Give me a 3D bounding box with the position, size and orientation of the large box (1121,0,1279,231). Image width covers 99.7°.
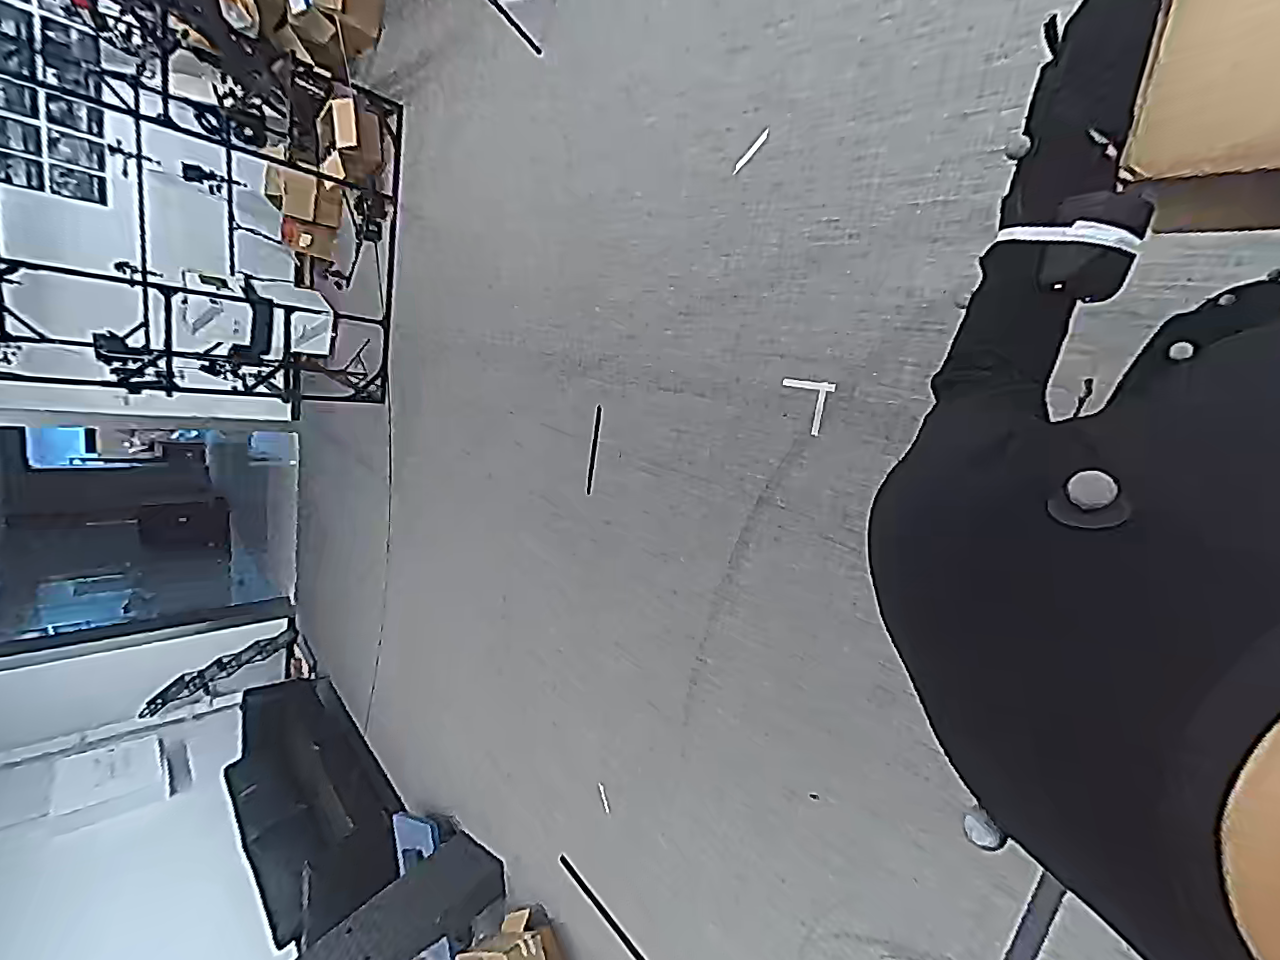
[{"bbox_3d":[0.600,-0.350,0.323,0.408,0.320,0.320,19,115,42],"label":"large box"}]
